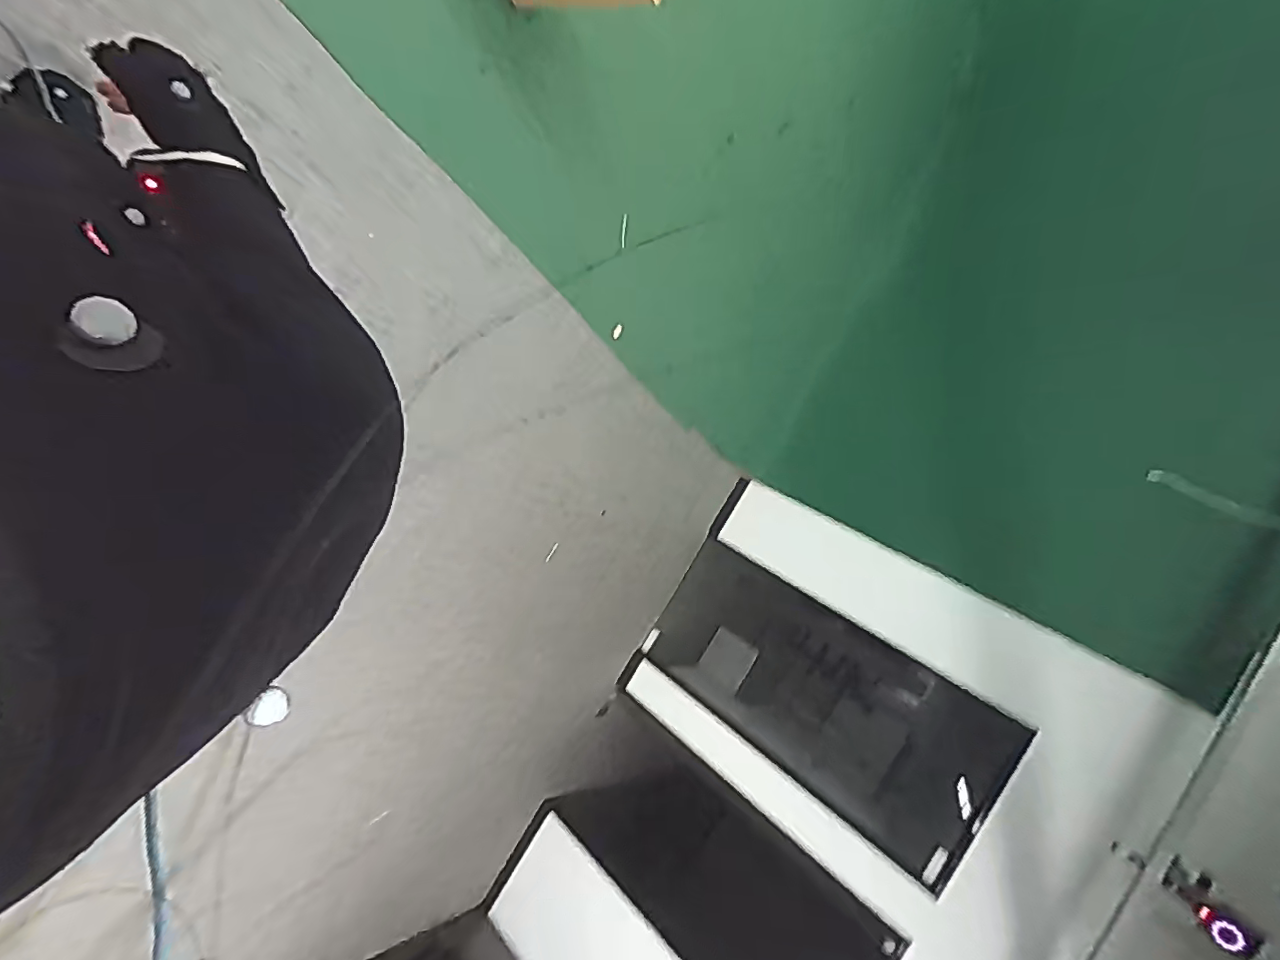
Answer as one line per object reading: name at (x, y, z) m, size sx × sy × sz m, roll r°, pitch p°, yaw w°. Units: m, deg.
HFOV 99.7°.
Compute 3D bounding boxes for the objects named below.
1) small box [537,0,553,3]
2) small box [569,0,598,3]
small box at (-0.262, -1.272, 1.264) m, size 0.168 × 0.176 × 0.179 m, roll -58°, pitch 148°, yaw -3°
small box at (-0.146, -1.195, 1.179) m, size 0.168 × 0.176 × 0.179 m, roll -57°, pitch 148°, yaw -3°
